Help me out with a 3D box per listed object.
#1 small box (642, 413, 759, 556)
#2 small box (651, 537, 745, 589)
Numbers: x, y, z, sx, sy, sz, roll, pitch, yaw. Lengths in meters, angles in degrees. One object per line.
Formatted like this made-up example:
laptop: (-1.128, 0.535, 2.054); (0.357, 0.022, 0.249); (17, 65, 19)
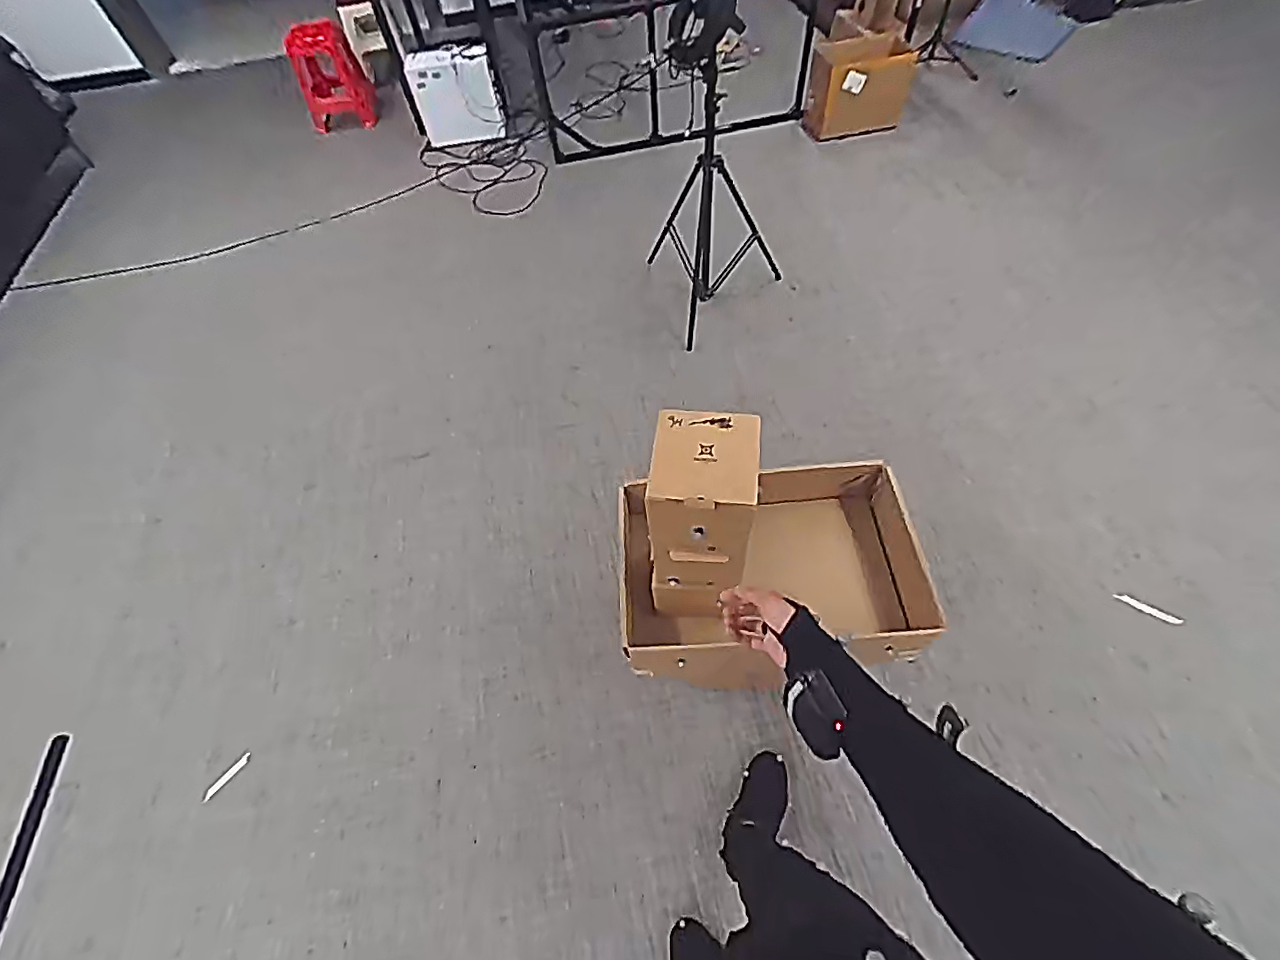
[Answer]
small box: (0.104, 0.012, 0.898); (0.168, 0.176, 0.179); (5, 58, 9)
small box: (0.116, 0.098, 1.038); (0.168, 0.176, 0.179); (2, 56, 7)
